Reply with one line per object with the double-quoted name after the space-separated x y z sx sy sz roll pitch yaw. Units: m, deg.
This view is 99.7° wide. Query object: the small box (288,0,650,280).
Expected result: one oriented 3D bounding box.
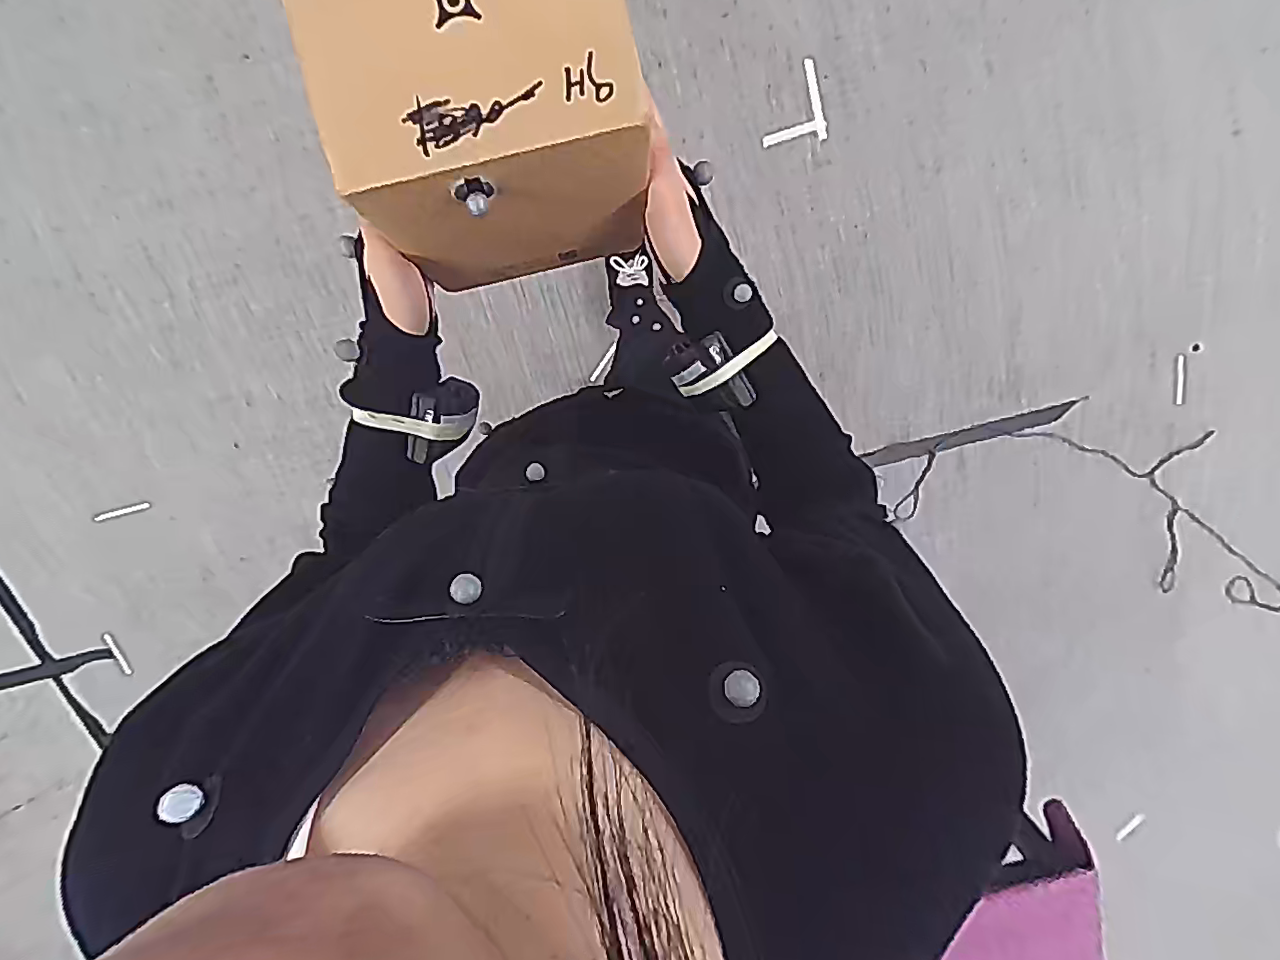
-0.095 -0.255 0.346 0.168 0.176 0.179 -14 93 0 "small box"
